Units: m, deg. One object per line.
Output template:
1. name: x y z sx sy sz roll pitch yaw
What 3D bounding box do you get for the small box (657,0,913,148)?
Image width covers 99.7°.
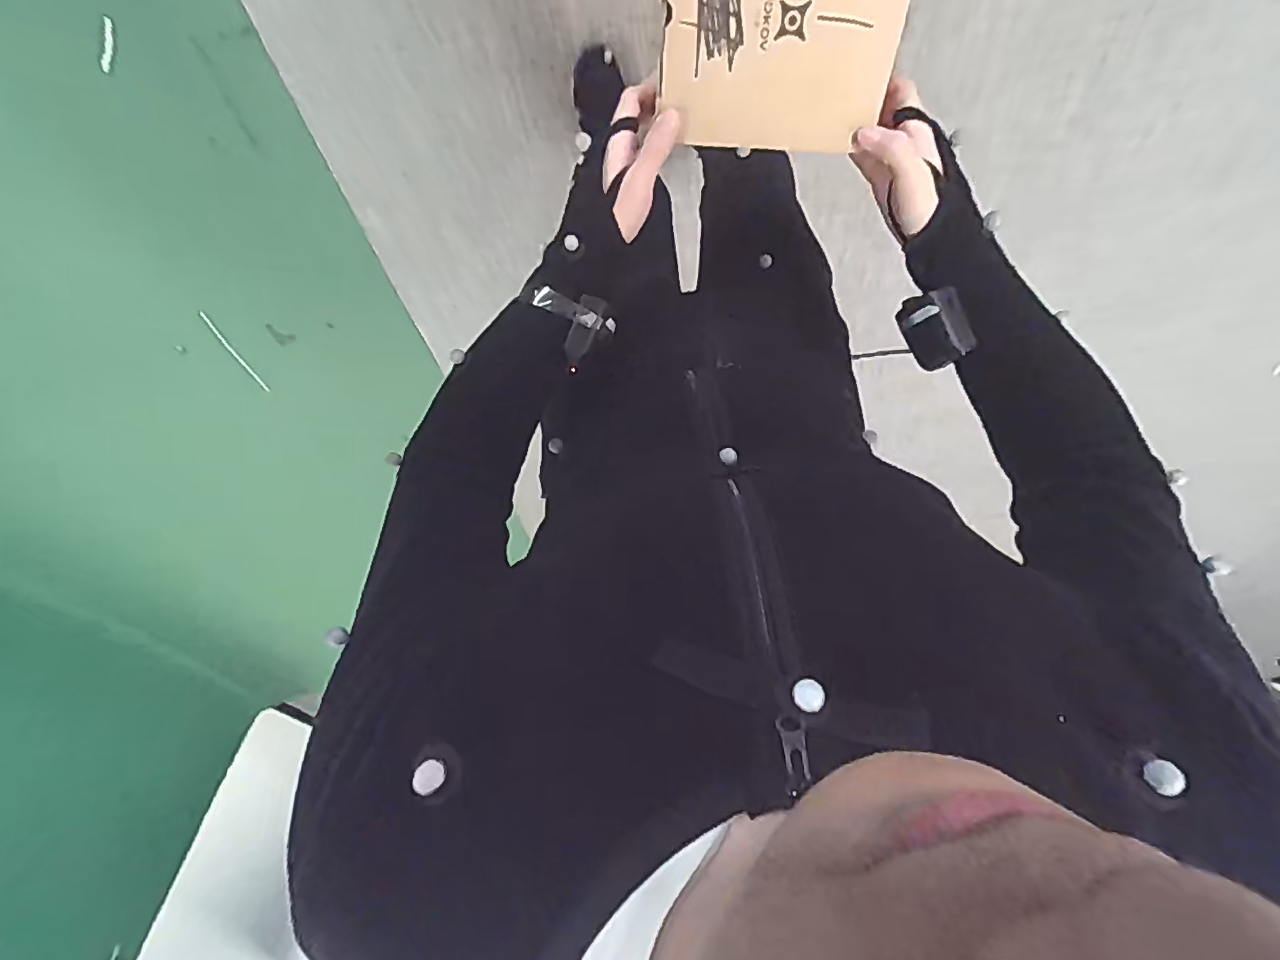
1. small box: 0.113 -0.388 0.445 0.179 0.176 0.168 6 132 4
